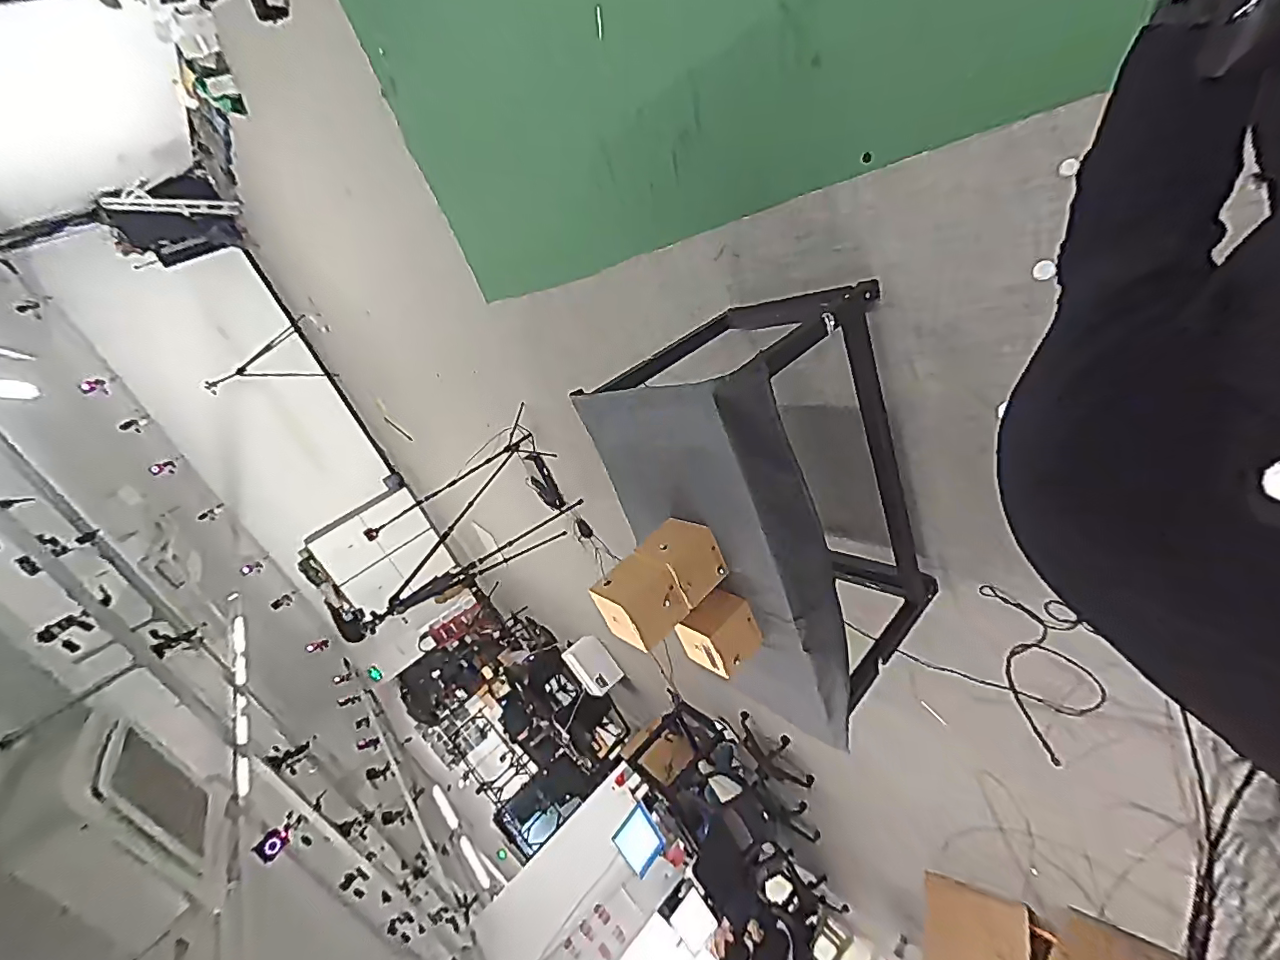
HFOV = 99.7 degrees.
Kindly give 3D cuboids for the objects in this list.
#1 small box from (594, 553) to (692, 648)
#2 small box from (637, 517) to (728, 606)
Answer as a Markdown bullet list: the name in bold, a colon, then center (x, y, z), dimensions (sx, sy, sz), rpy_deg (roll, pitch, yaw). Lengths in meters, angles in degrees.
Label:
- **small box**: center (0.010, 0.322, 1.487), dimensions (0.179, 0.176, 0.168), rpy_deg (7, 129, 54)
- **small box**: center (0.130, 0.224, 1.544), dimensions (0.179, 0.176, 0.168), rpy_deg (10, 131, 54)
